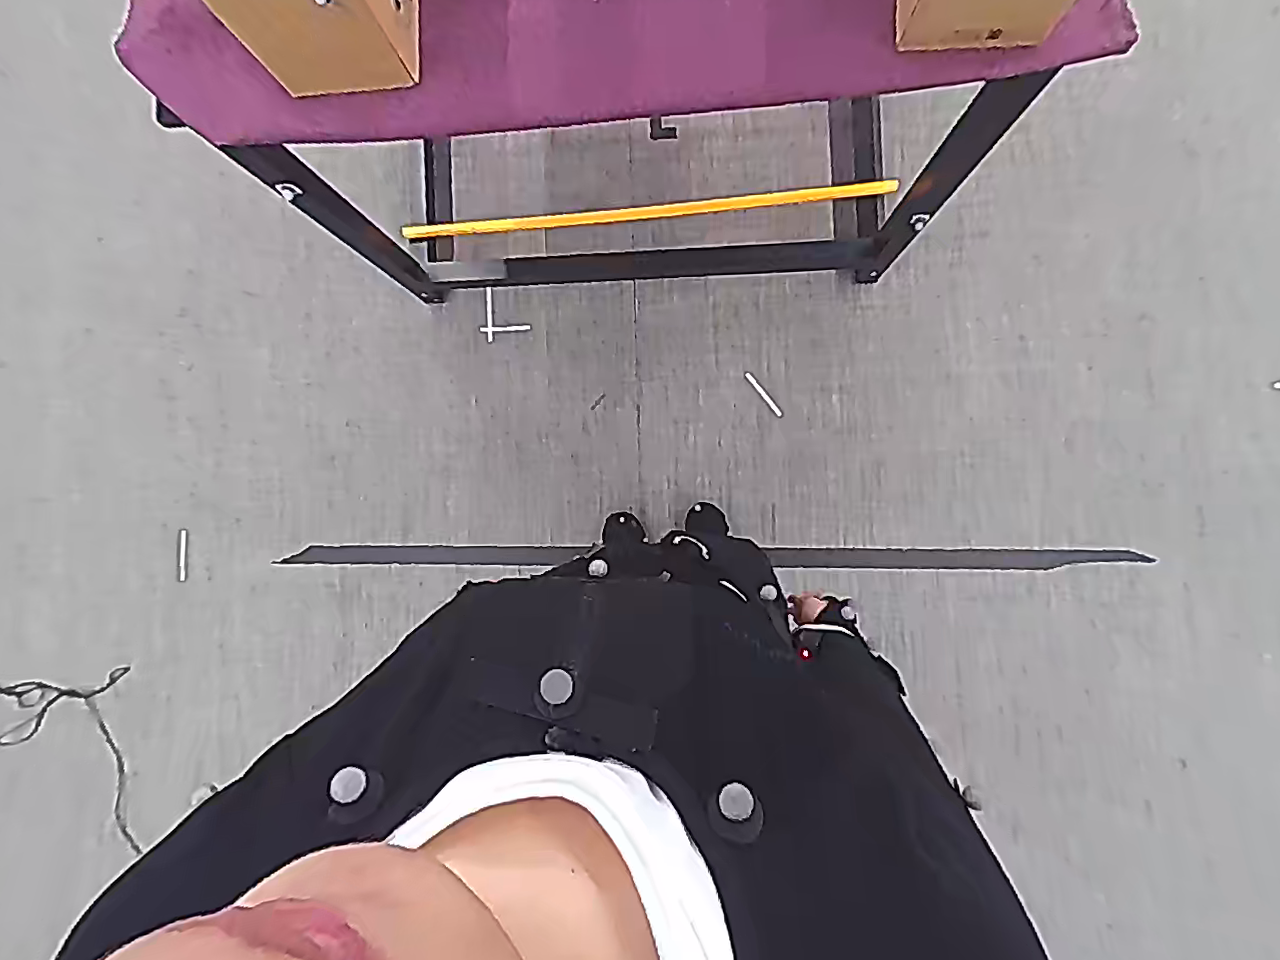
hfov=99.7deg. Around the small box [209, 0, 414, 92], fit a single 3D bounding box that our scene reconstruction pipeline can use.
[{"bbox_3d":[-0.390,-0.596,0.636,0.179,0.176,0.168,-2,87,4],"label":"small box"}]
